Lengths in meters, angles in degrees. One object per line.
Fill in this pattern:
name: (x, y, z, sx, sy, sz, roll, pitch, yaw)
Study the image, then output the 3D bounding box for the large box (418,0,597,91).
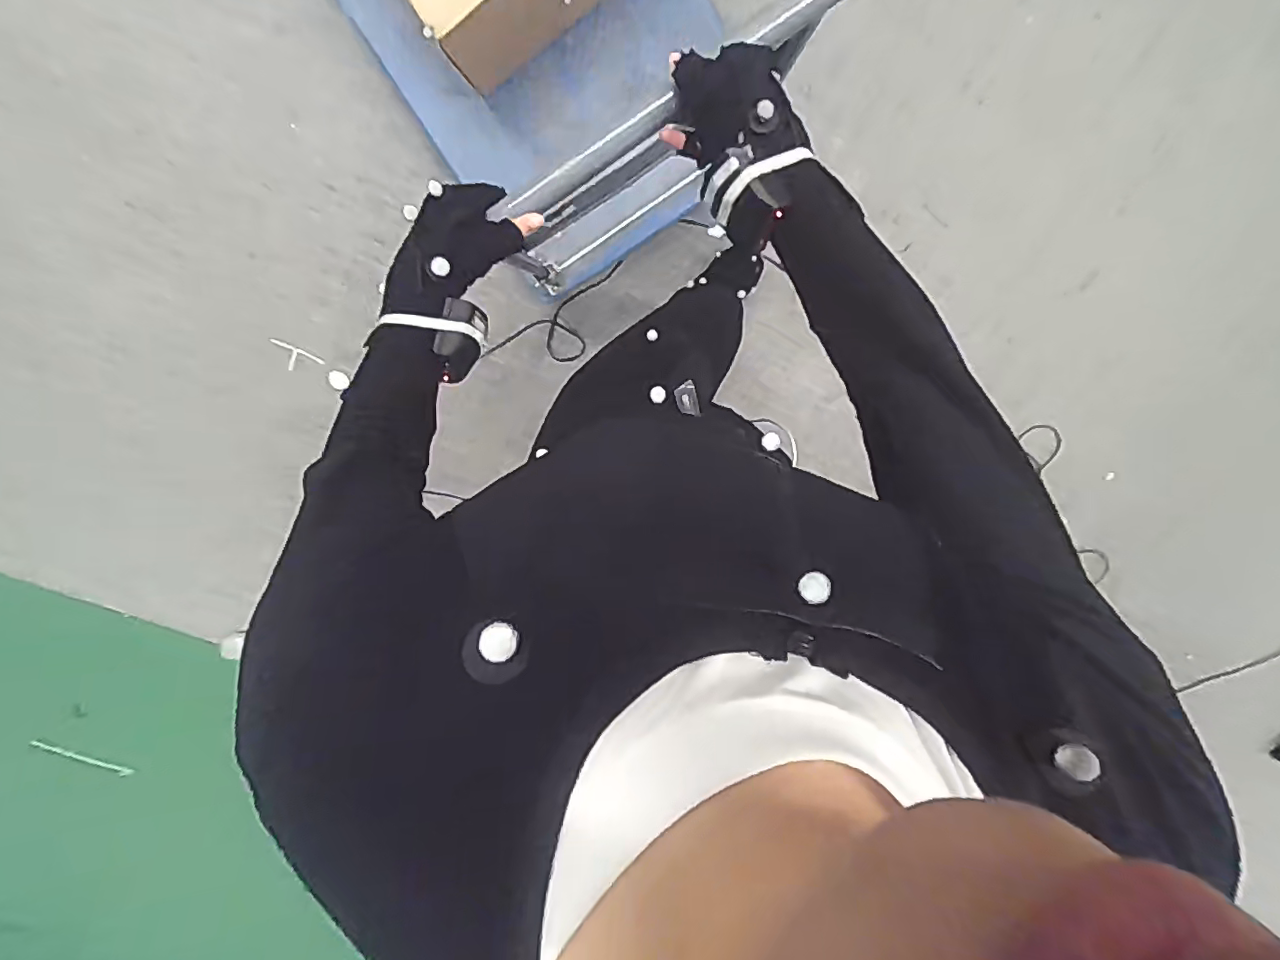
large box: (-0.202, -0.899, 0.810, 0.408, 0.320, 0.320, -33, 110, 11)
